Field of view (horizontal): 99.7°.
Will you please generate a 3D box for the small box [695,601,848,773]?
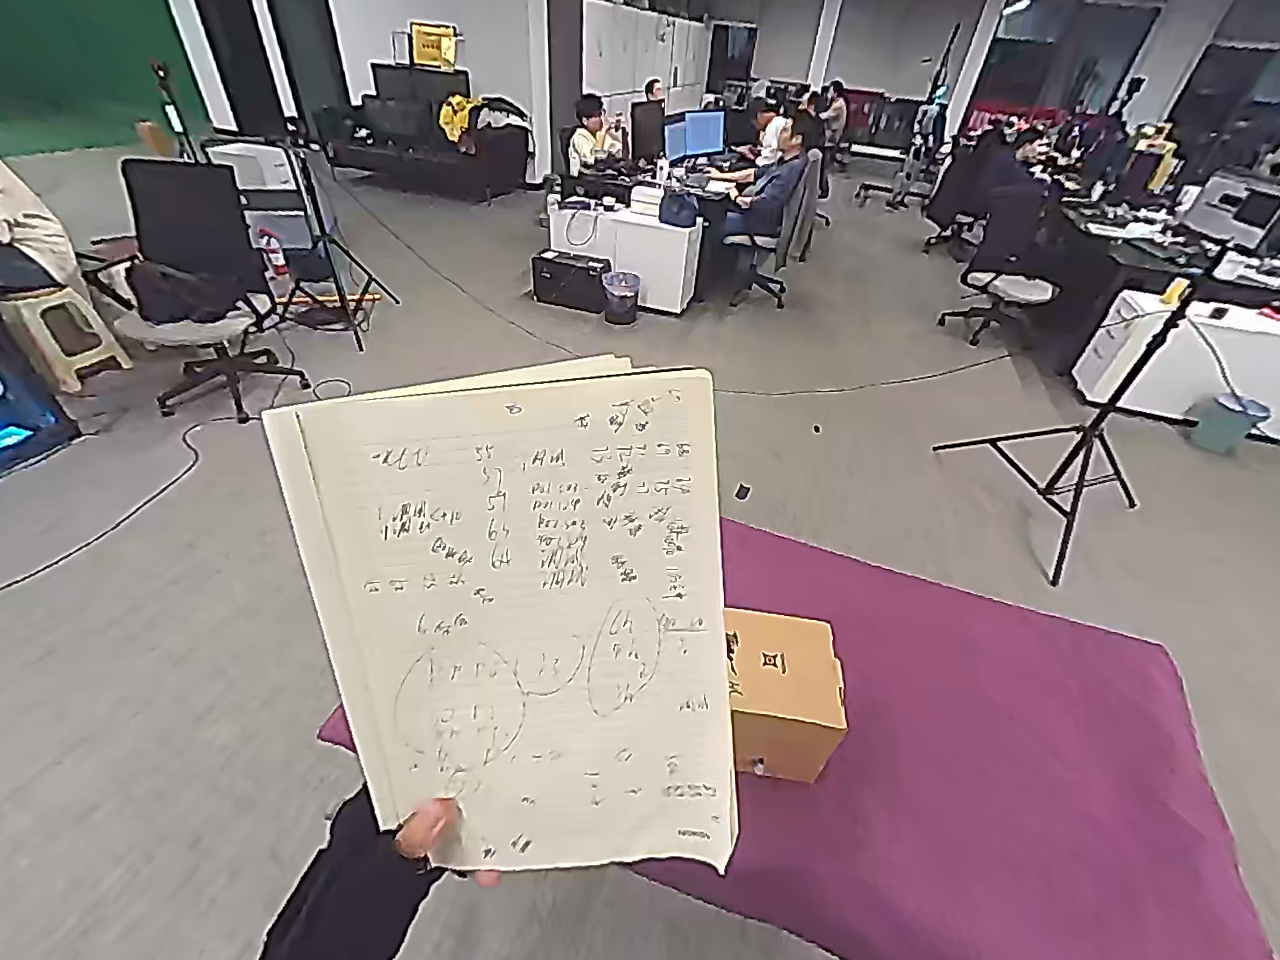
[{"bbox_3d":[0.185,0.309,0.803,0.179,0.176,0.168,8,38,4],"label":"small box"}]
